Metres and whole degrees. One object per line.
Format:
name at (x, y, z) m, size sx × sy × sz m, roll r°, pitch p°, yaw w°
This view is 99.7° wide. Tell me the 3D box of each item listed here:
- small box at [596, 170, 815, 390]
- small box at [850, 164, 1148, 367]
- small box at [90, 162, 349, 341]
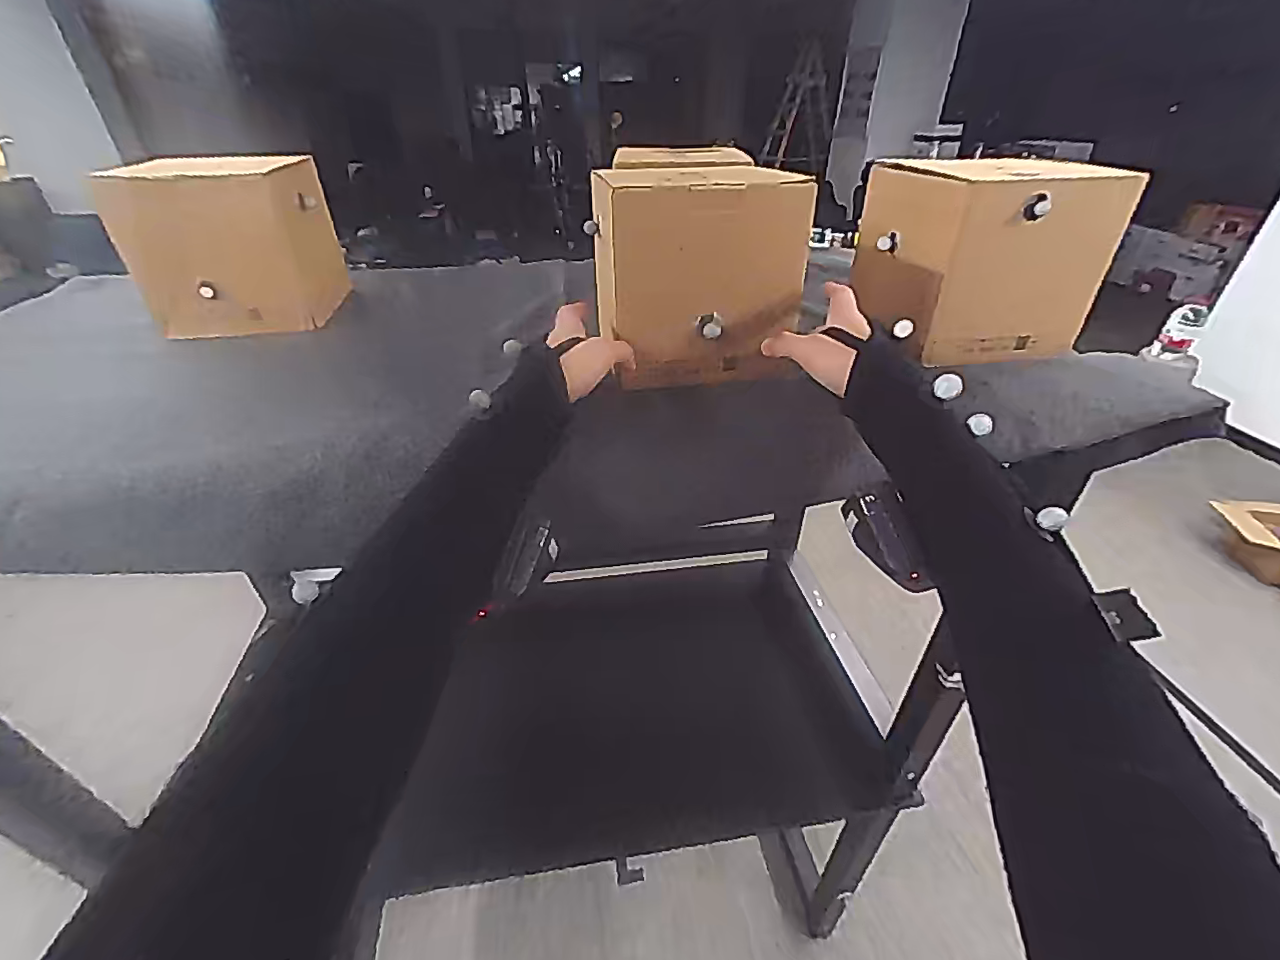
small box at (0.047, -0.200, 0.528) m, size 0.168 × 0.176 × 0.179 m, roll -6°, pitch 34°, yaw -7°
small box at (0.343, -0.228, 0.565) m, size 0.168 × 0.176 × 0.179 m, roll -5°, pitch 34°, yaw -5°
small box at (-0.474, -0.278, 0.651) m, size 0.168 × 0.176 × 0.179 m, roll -6°, pitch 36°, yaw -8°
